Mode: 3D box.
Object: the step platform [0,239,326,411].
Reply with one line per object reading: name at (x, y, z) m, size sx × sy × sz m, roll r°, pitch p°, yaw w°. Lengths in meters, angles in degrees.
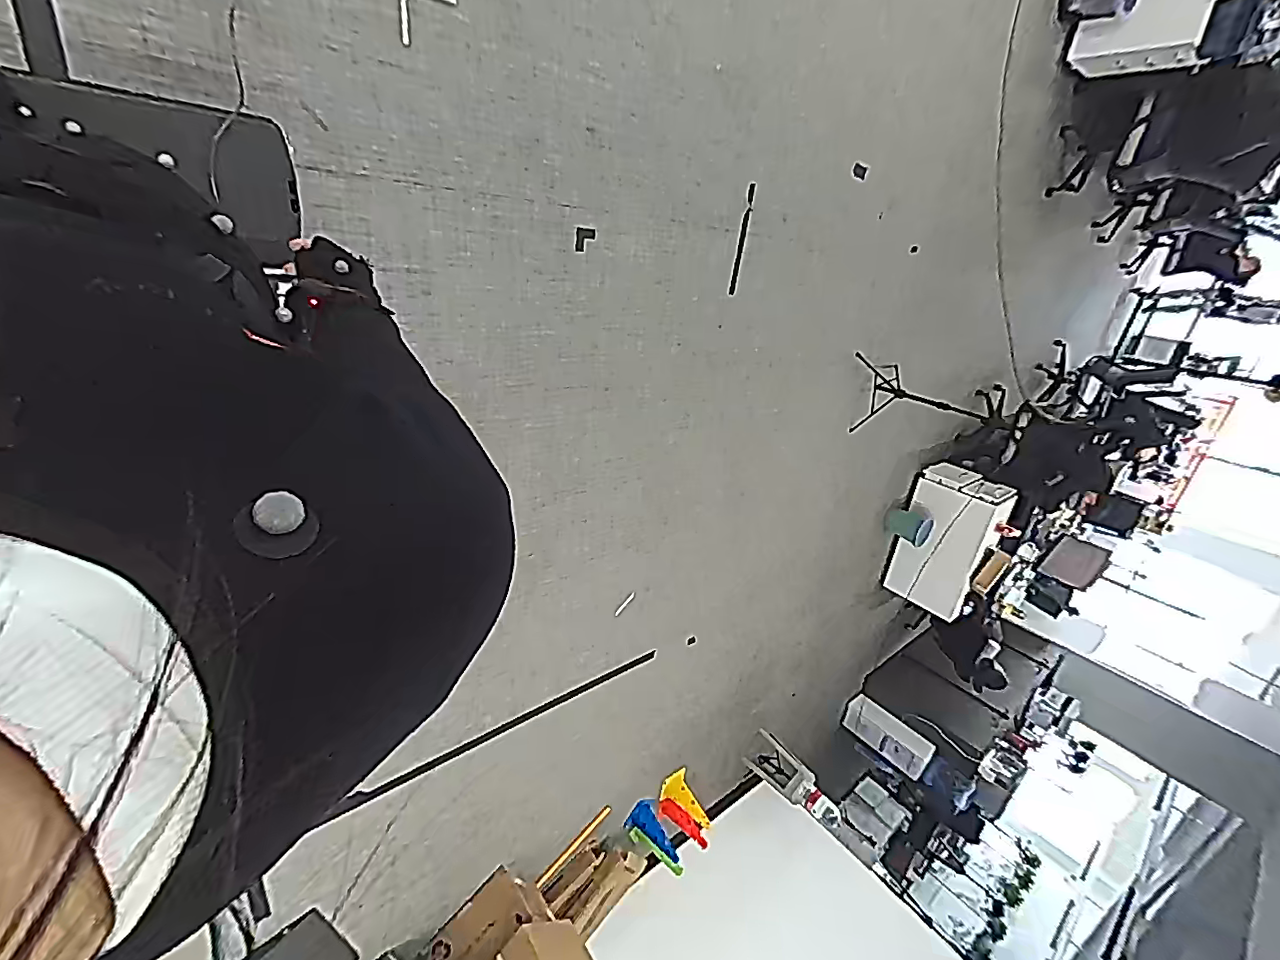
step platform at (-0.999, -0.306, 1.043) m, size 0.684 × 0.204 × 0.286 m, roll -13°, pitch 120°, yaw -36°
